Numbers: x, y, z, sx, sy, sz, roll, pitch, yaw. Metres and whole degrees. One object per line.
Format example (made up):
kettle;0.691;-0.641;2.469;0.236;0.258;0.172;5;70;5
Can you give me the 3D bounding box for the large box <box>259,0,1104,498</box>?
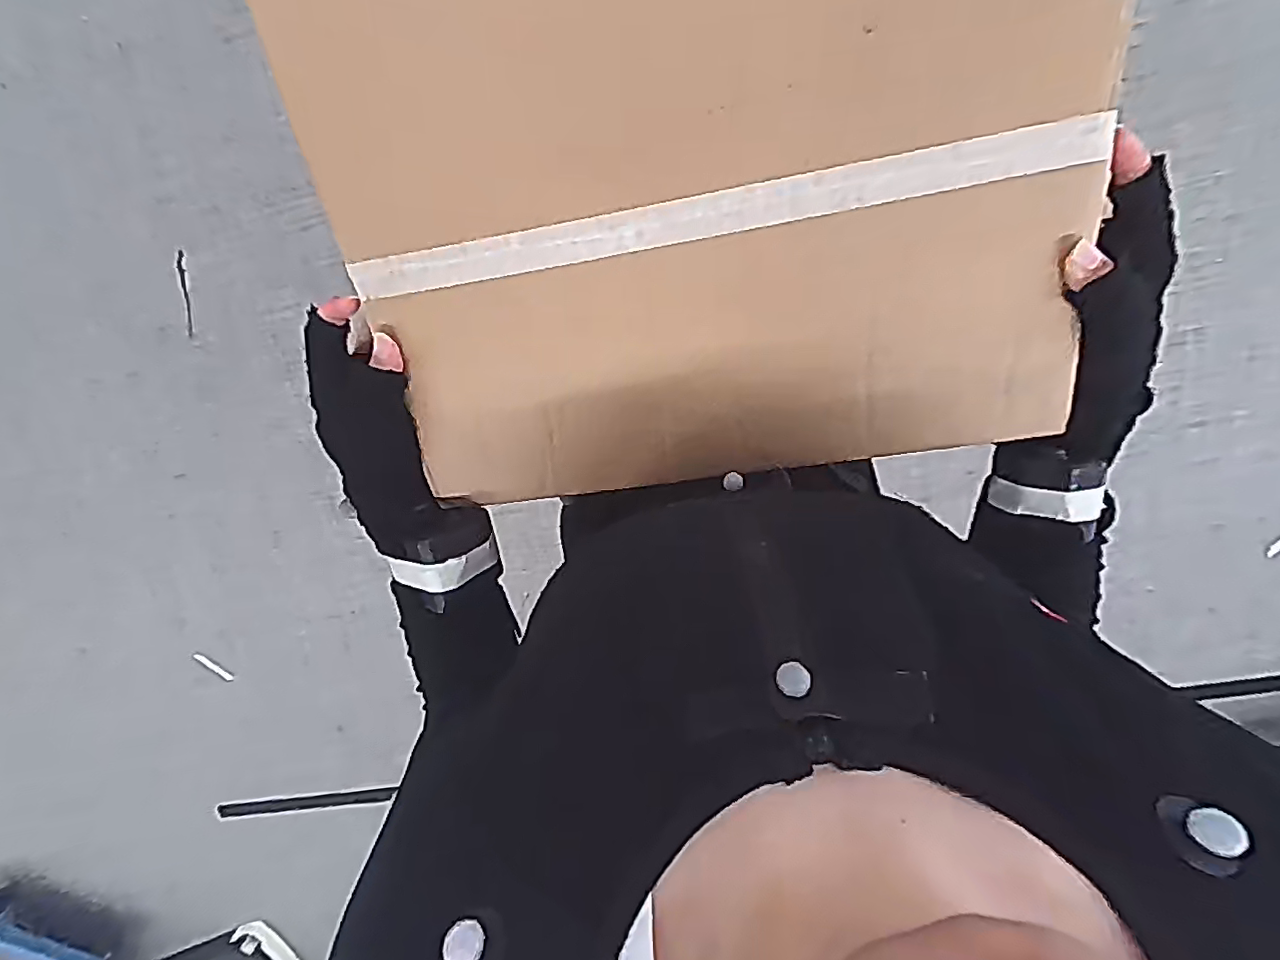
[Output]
large box;0.039;-0.214;0.432;0.408;0.320;0.320;-7;115;8
